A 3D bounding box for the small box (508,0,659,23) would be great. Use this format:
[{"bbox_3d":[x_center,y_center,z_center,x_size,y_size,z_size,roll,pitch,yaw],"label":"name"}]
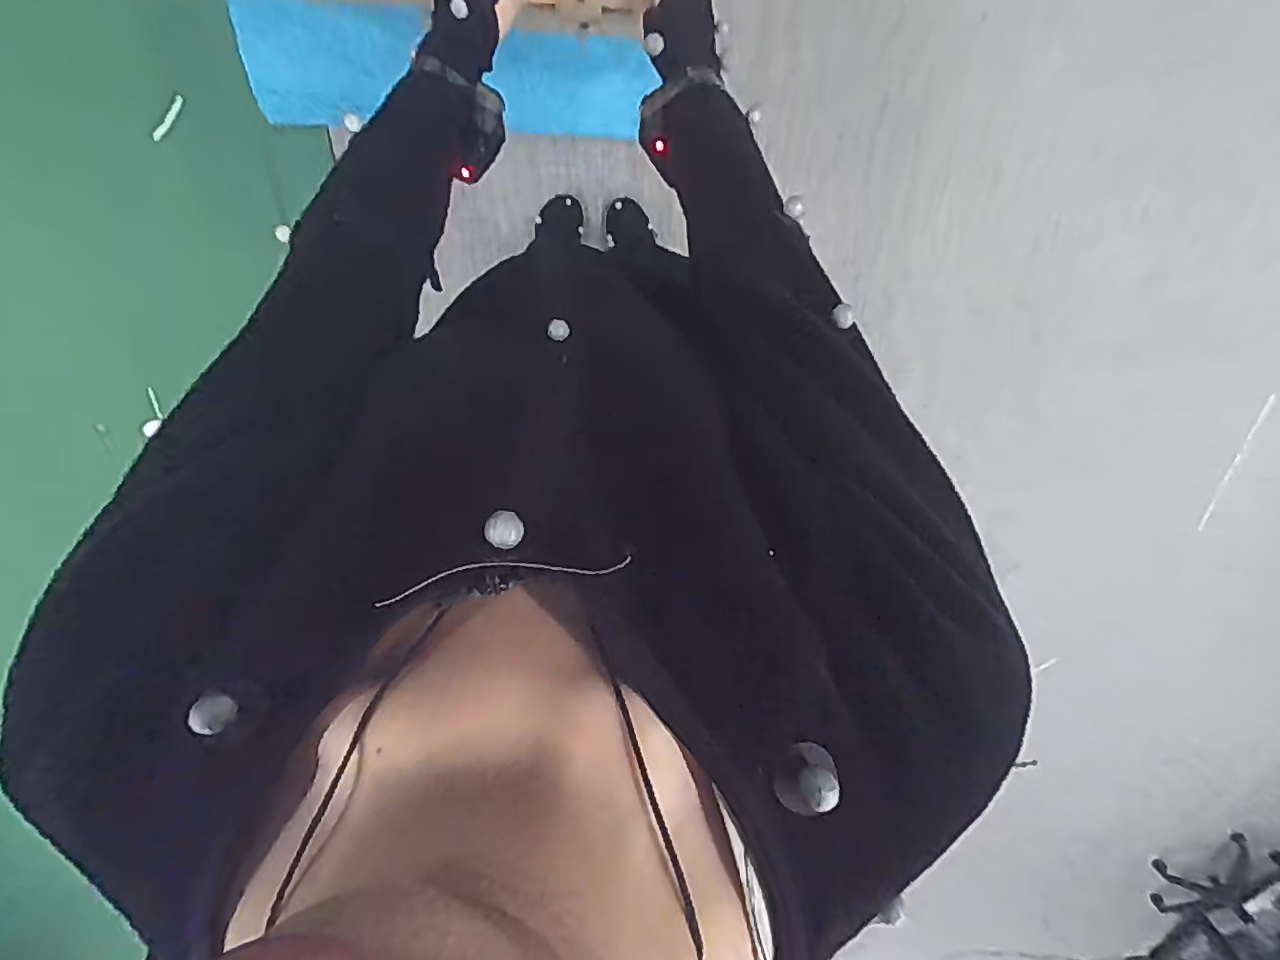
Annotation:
[{"bbox_3d":[-0.059,-0.574,0.530,0.168,0.176,0.179,1,124,-4],"label":"small box"}]
